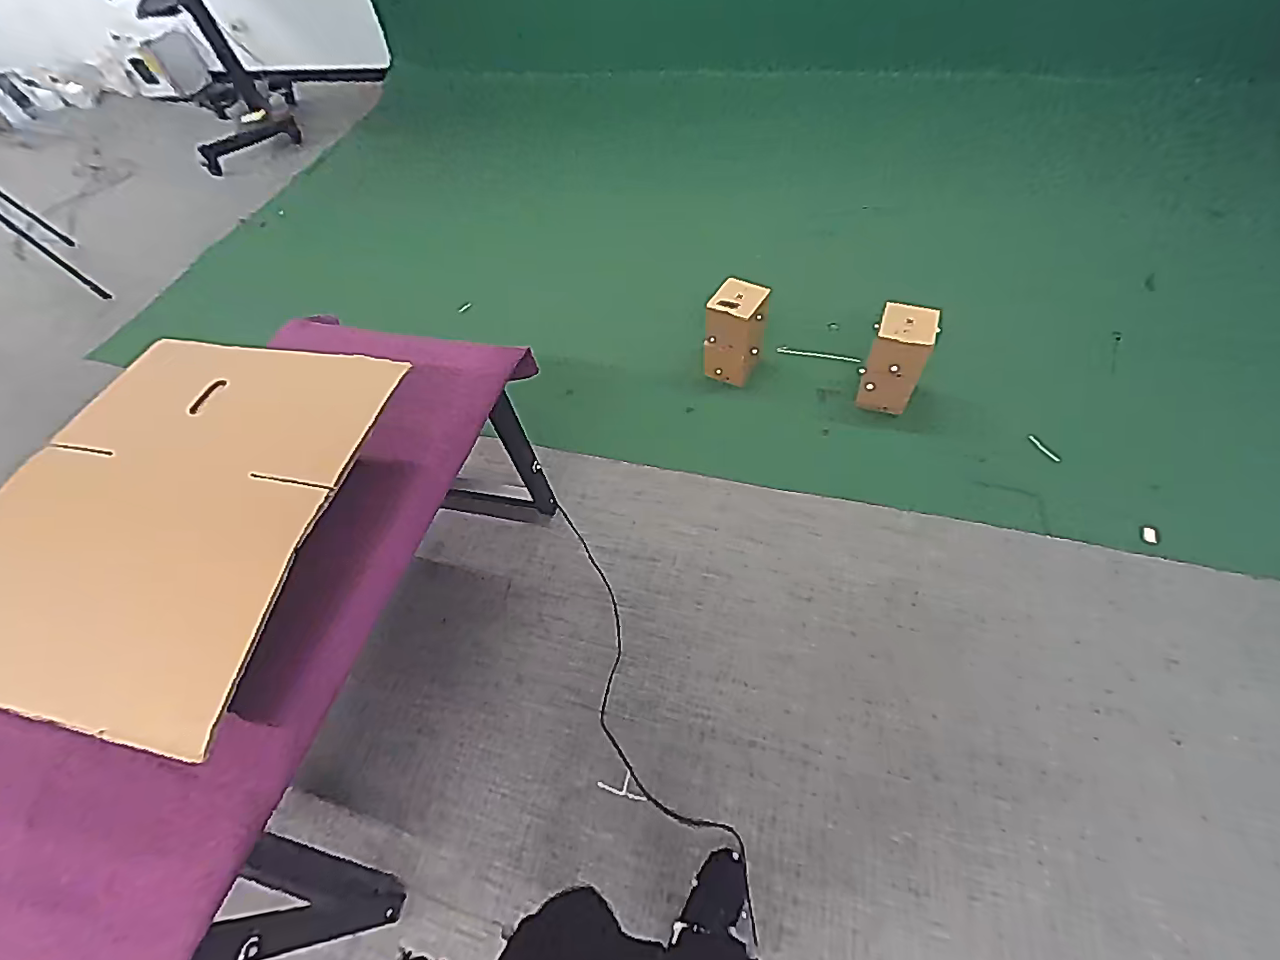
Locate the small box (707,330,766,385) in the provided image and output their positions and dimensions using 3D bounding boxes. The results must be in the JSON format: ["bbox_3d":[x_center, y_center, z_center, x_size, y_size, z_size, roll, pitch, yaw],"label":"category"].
[{"bbox_3d":[0.368,-0.500,2.079,0.168,0.176,0.179,25,64,21],"label":"small box"}]

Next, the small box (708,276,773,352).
[{"bbox_3d":[0.361,-0.593,1.943,0.168,0.176,0.179,27,64,22],"label":"small box"}]

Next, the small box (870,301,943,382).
[{"bbox_3d":[0.875,-0.456,1.784,0.168,0.176,0.179,17,61,17],"label":"small box"}]
